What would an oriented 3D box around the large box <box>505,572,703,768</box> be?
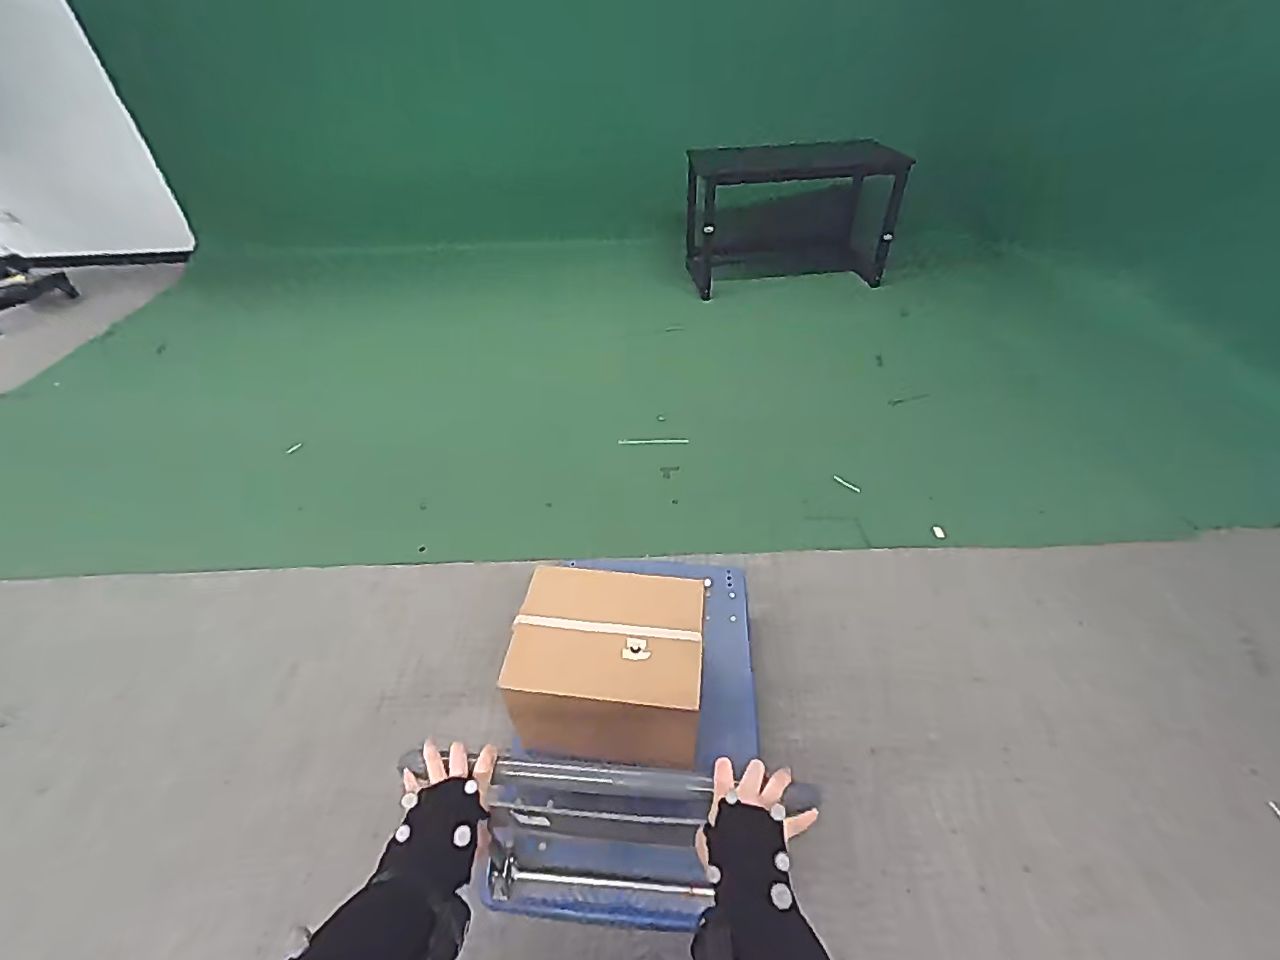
[{"bbox_3d":[-0.065,0.447,1.283,0.408,0.320,0.320,4,42,5],"label":"large box"}]
